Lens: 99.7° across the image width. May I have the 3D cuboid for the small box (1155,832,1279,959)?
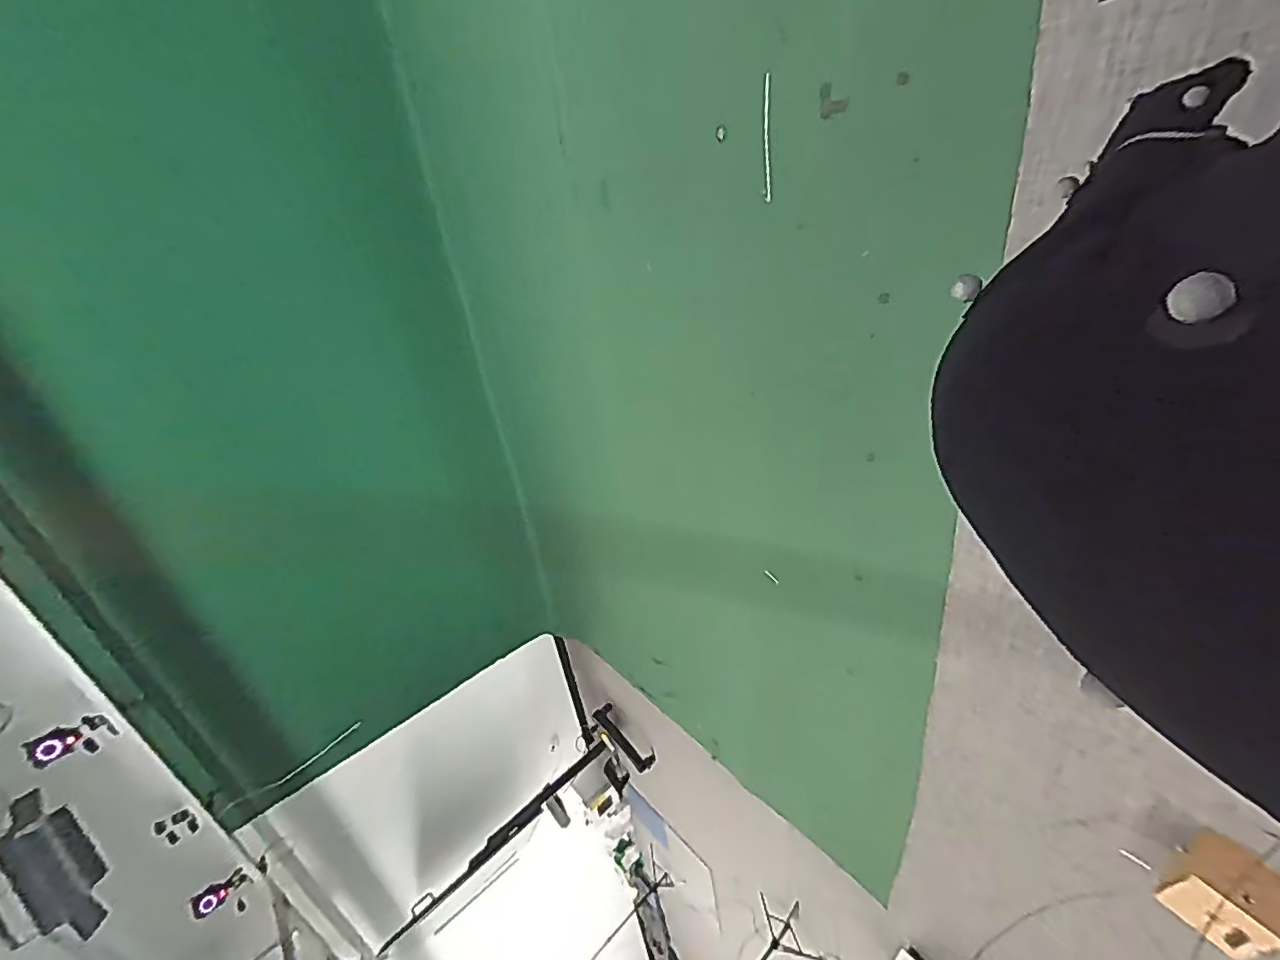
[{"bbox_3d":[1.472,1.043,1.361,0.179,0.176,0.168,37,140,36],"label":"small box"}]
